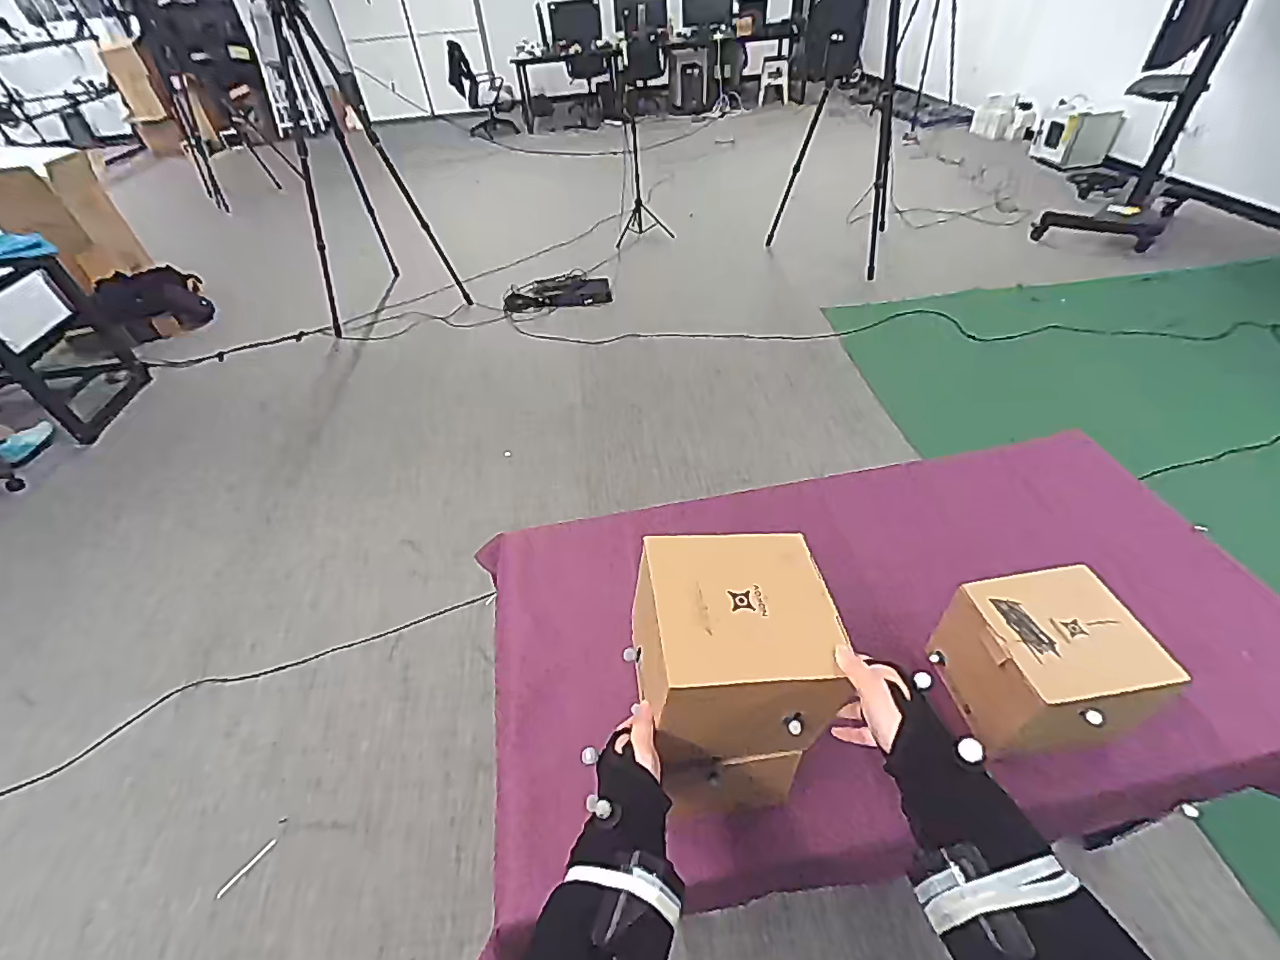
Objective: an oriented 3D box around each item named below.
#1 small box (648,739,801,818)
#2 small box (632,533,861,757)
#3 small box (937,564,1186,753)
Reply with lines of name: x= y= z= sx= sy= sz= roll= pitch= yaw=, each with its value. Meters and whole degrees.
small box: x=0.089 y=0.300 z=0.690 sx=0.168 sy=0.176 sz=0.179 roll=-8 pitch=43 yaw=-2
small box: x=0.092 y=0.172 z=0.567 sx=0.179 sy=0.176 sz=0.168 roll=0 pitch=43 yaw=-8
small box: x=0.519 y=0.235 z=0.707 sx=0.179 sy=0.176 sz=0.168 roll=-8 pitch=44 yaw=-3
